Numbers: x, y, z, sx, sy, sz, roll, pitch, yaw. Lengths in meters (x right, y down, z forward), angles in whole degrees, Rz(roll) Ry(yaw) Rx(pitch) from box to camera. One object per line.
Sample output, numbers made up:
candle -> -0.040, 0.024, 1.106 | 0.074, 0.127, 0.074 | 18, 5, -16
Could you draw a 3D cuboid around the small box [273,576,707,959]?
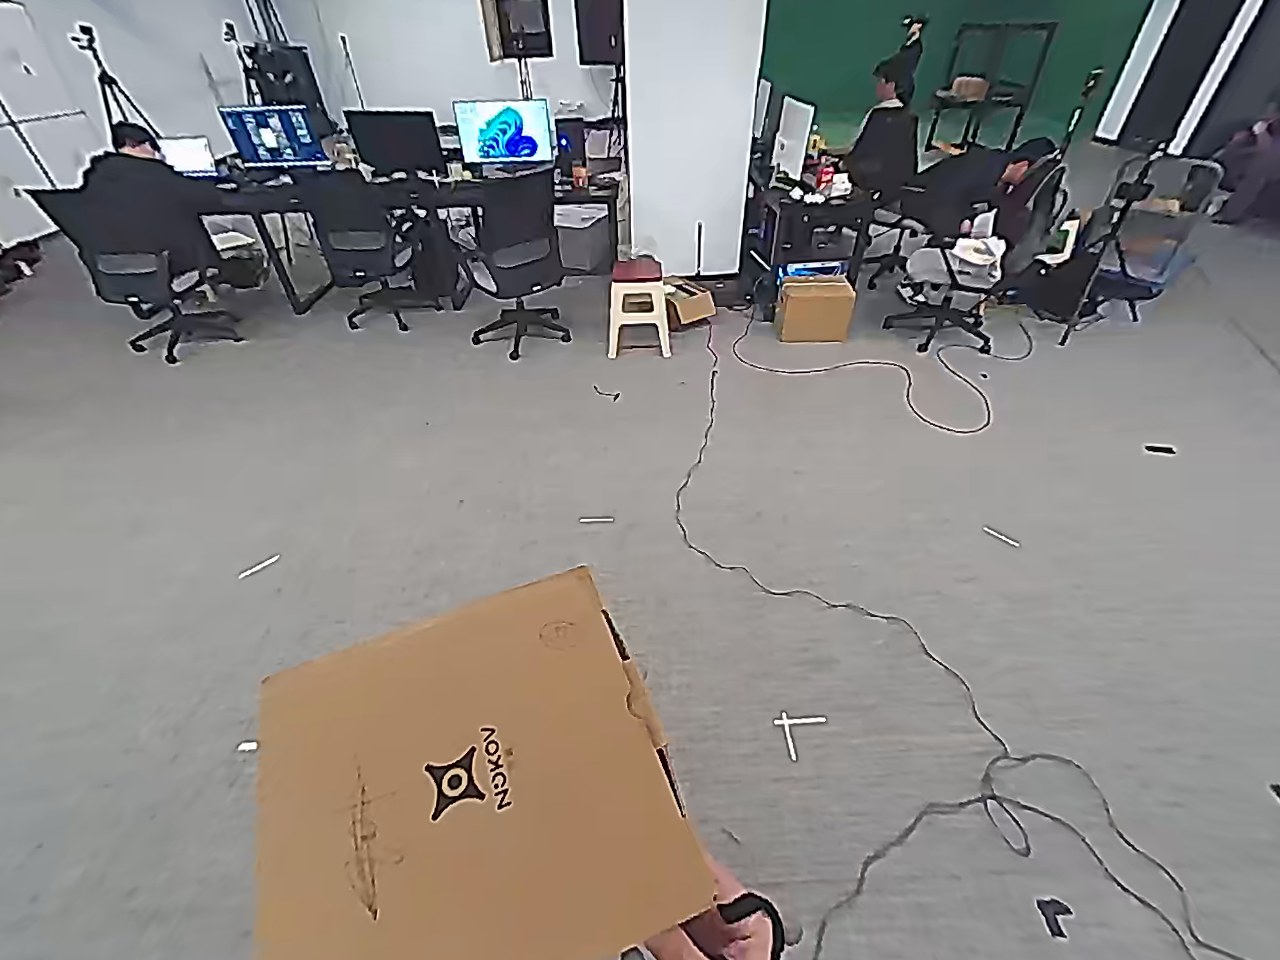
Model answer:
small box -> -0.079, 0.189, 0.319 | 0.179, 0.176, 0.168 | -19, 54, -12
